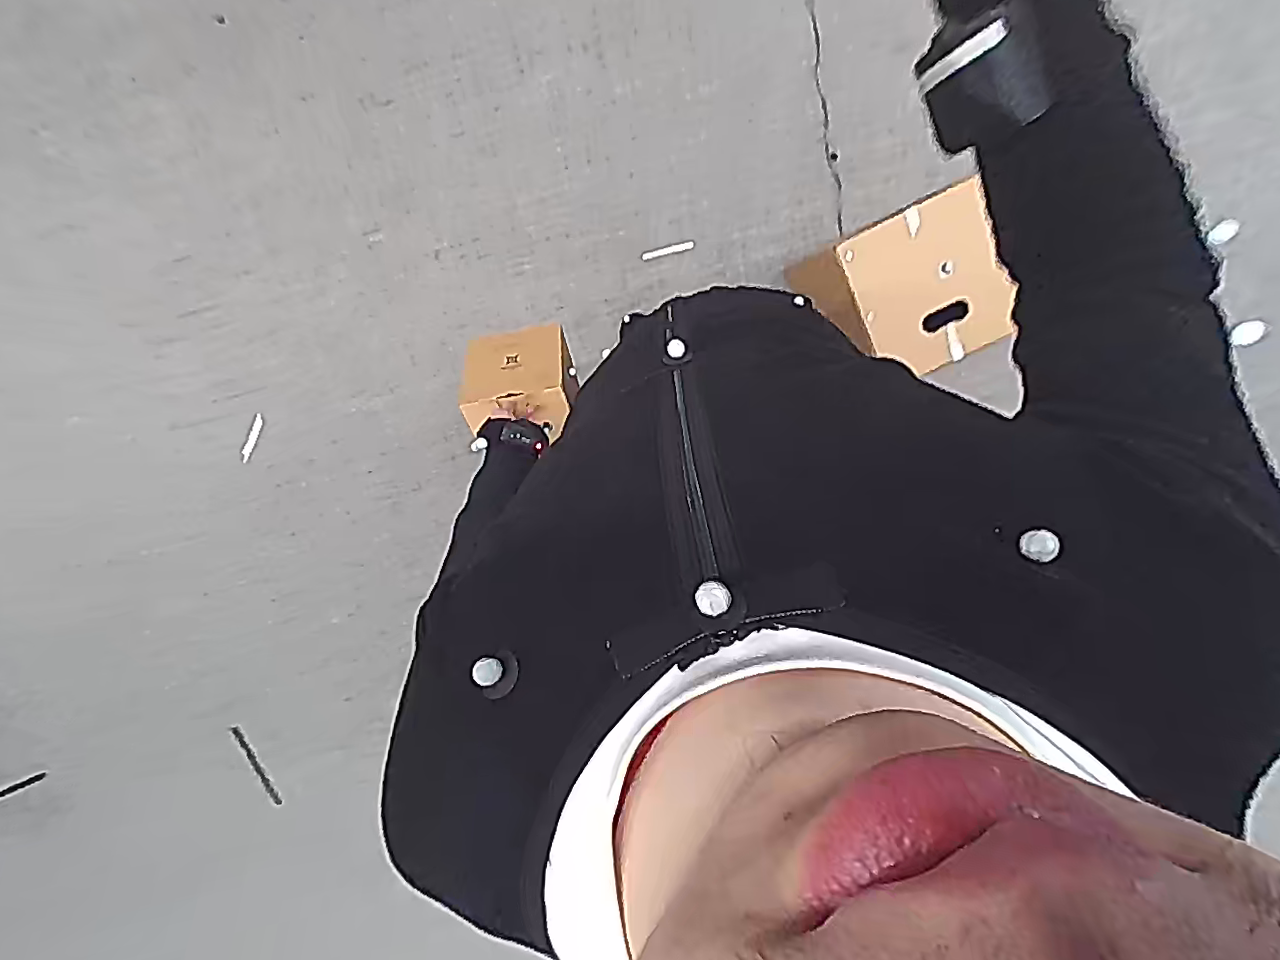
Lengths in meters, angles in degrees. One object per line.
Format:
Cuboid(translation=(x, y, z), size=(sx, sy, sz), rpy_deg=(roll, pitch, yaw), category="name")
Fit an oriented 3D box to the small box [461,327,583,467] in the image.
Cuboid(translation=(-0.198, -0.138, 0.952), size=(0.168, 0.179, 0.176), rpy_deg=(-10, 140, 2), category="small box")
